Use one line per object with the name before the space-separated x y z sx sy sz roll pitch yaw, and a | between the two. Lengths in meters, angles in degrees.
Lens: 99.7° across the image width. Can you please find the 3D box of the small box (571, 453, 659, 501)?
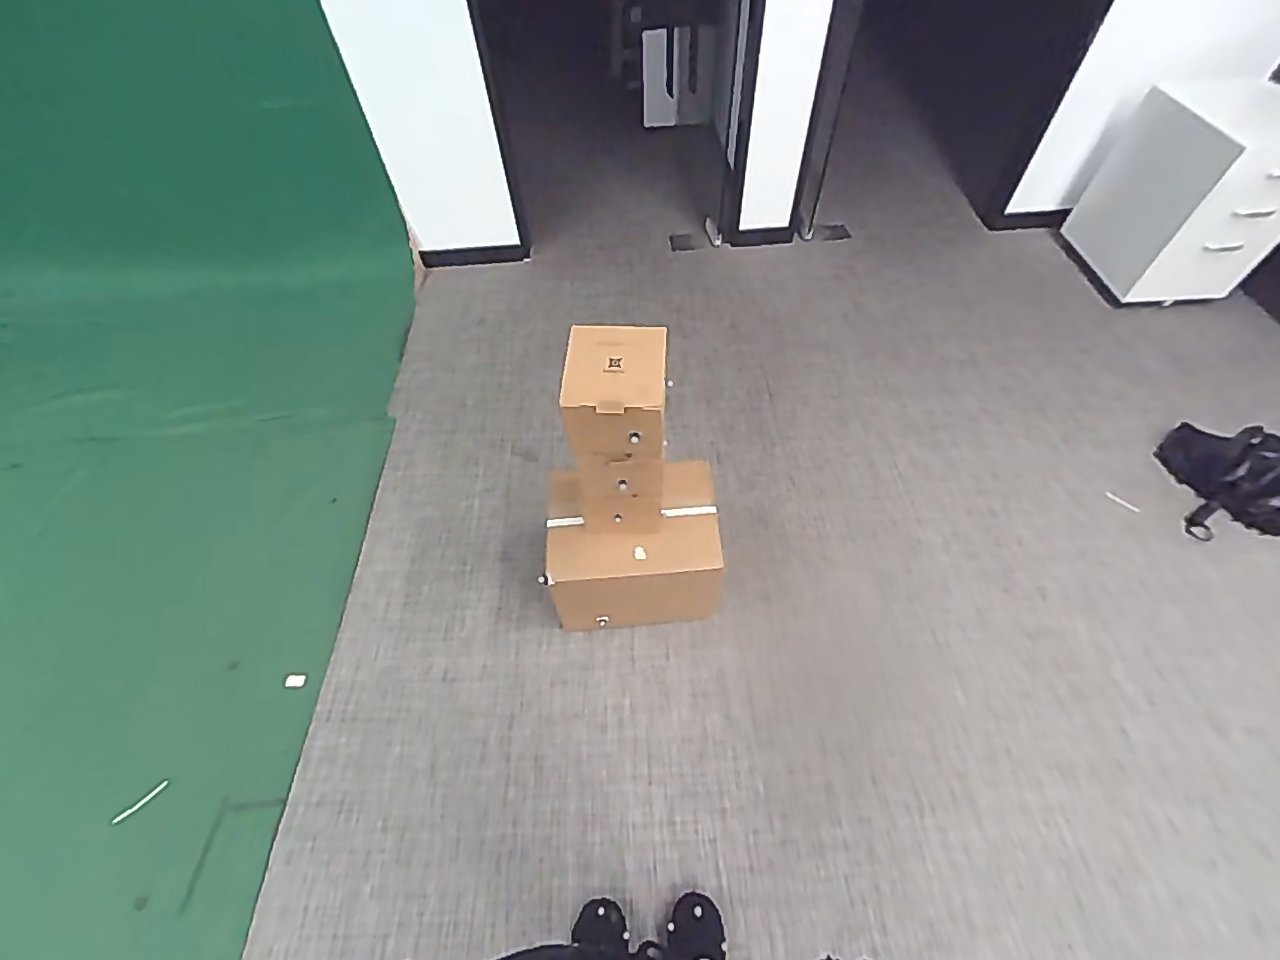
small box | -0.049 -0.066 1.105 0.168 0.176 0.179 -4 60 -1

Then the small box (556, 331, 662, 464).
small box | -0.046 -0.141 0.961 0.168 0.176 0.179 2 59 1
